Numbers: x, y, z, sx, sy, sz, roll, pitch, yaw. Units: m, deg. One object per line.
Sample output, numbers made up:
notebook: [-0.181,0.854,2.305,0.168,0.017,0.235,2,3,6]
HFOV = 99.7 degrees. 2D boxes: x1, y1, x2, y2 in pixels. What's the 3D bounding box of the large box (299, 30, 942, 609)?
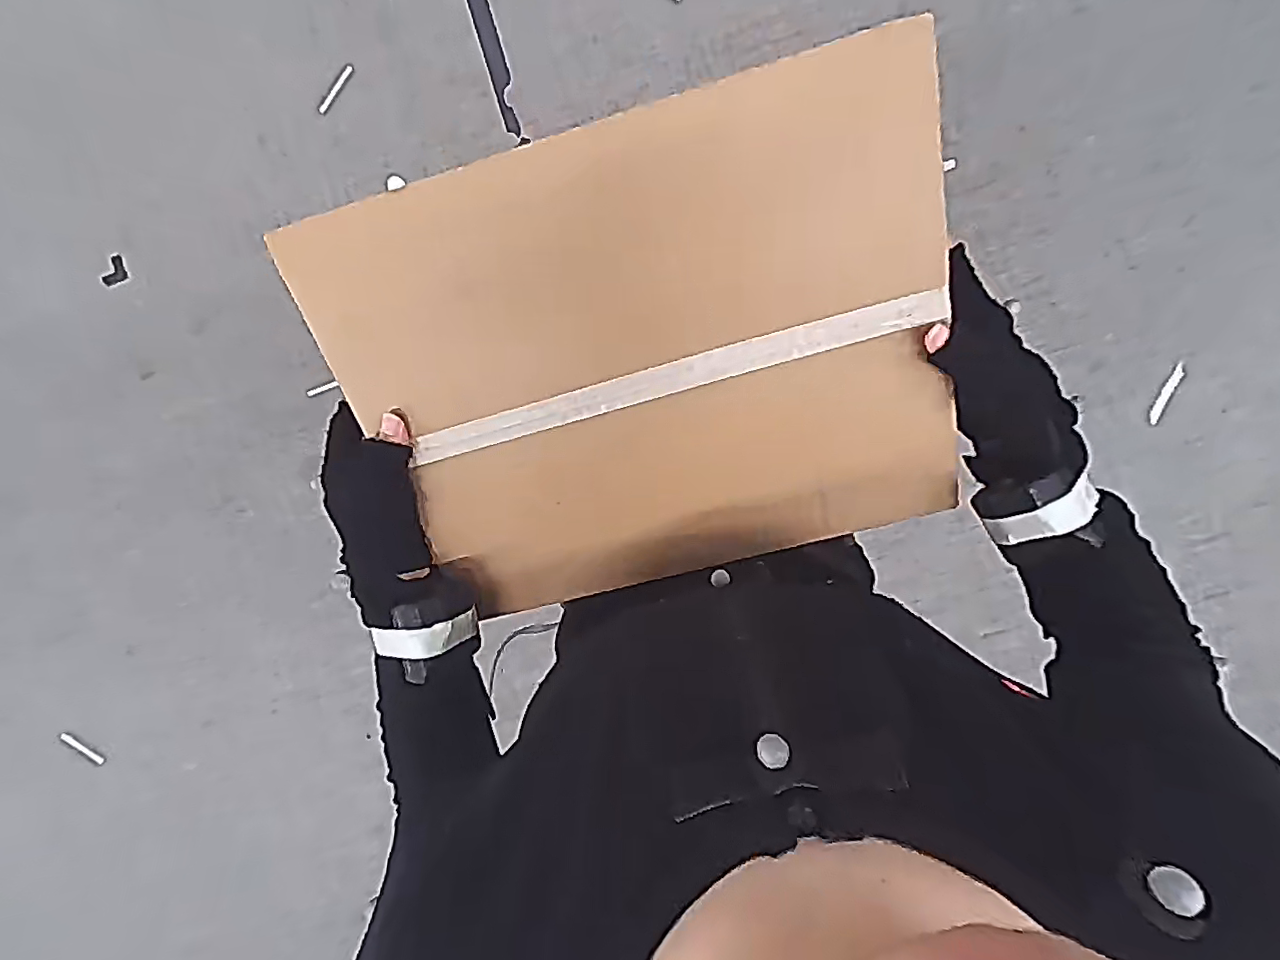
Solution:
large box: [0.004,-0.131,0.522,0.408,0.320,0.320,-14,115,6]
